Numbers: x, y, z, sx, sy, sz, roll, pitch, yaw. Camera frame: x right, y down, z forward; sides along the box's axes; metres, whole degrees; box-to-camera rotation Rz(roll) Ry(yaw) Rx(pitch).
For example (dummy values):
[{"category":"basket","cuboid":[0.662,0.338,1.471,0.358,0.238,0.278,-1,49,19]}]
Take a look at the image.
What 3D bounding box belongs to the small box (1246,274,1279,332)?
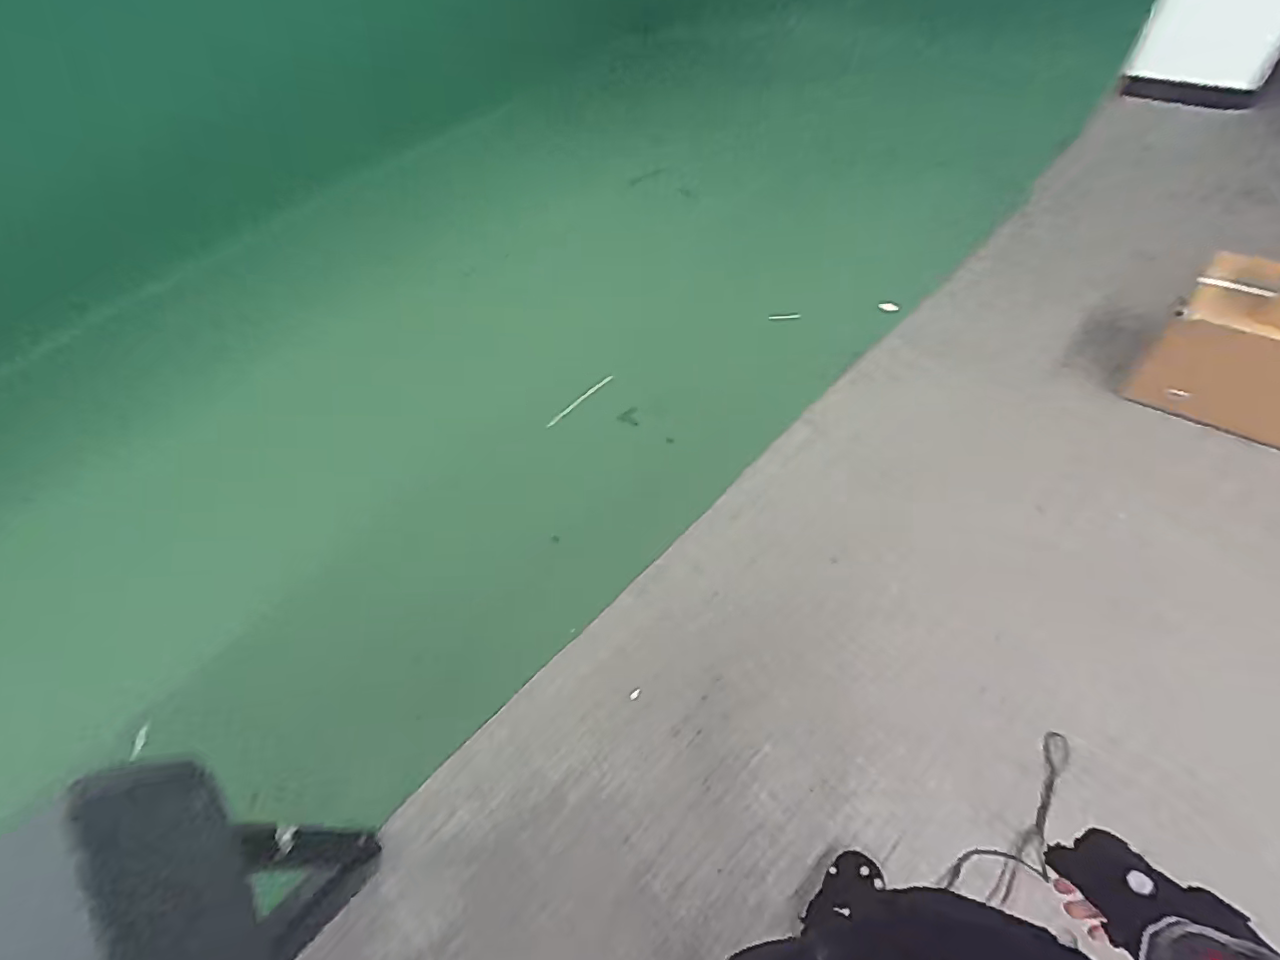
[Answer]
[{"category":"small box","cuboid":[1.590,-0.440,1.245,0.179,0.176,0.168,36,70,30]}]
